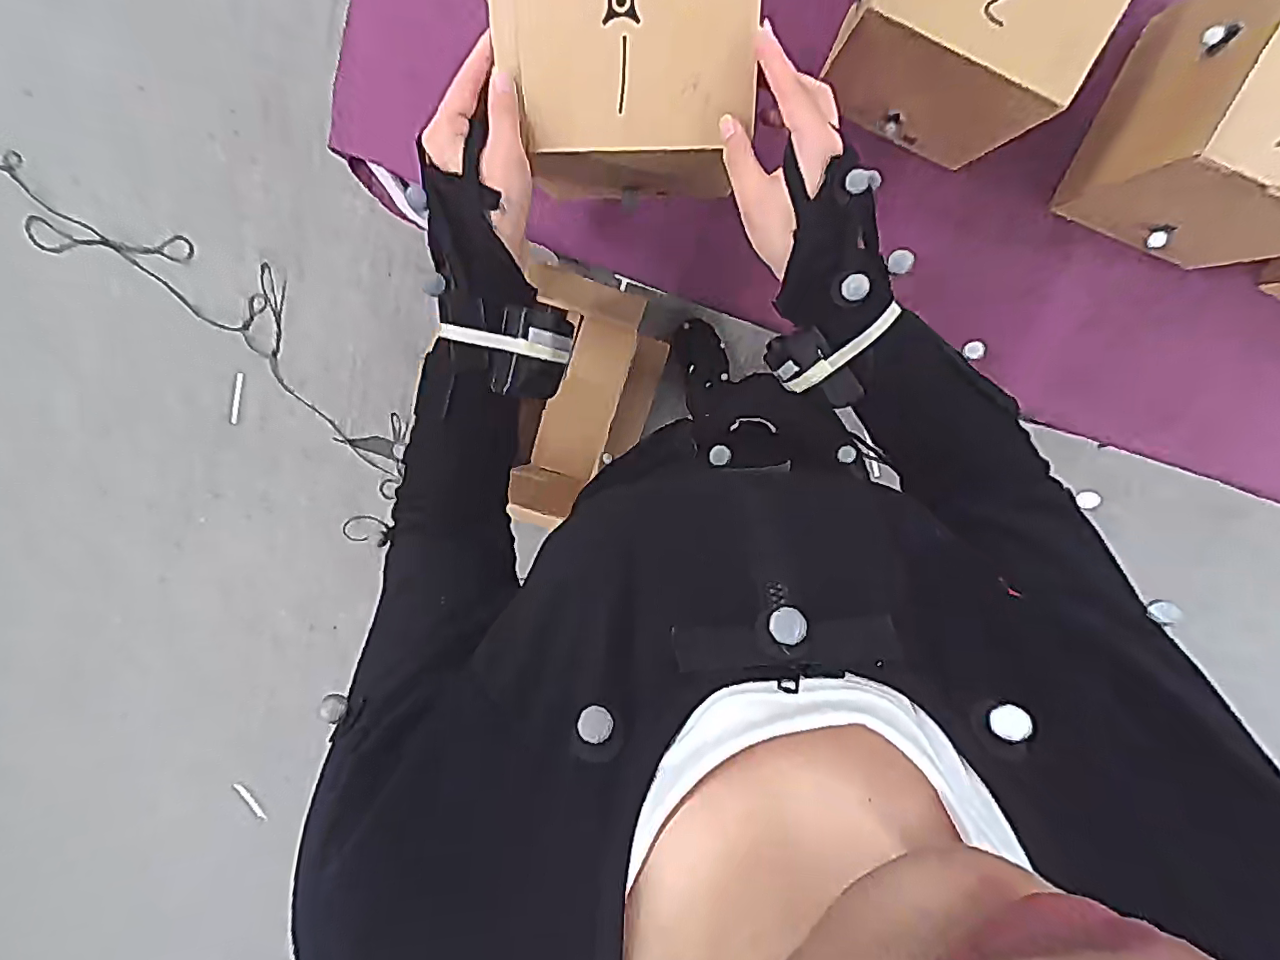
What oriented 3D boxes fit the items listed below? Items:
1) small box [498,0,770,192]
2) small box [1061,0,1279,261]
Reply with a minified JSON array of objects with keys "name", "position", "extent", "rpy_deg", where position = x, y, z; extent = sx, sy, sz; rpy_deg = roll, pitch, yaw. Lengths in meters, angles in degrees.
[{"name":"small box","position":[-0.001,-0.325,0.395],"extent":[0.168,0.176,0.179],"rpy_deg":[2,109,3]},{"name":"small box","position":[0.516,-0.308,0.454],"extent":[0.168,0.176,0.179],"rpy_deg":[21,105,-2]}]
